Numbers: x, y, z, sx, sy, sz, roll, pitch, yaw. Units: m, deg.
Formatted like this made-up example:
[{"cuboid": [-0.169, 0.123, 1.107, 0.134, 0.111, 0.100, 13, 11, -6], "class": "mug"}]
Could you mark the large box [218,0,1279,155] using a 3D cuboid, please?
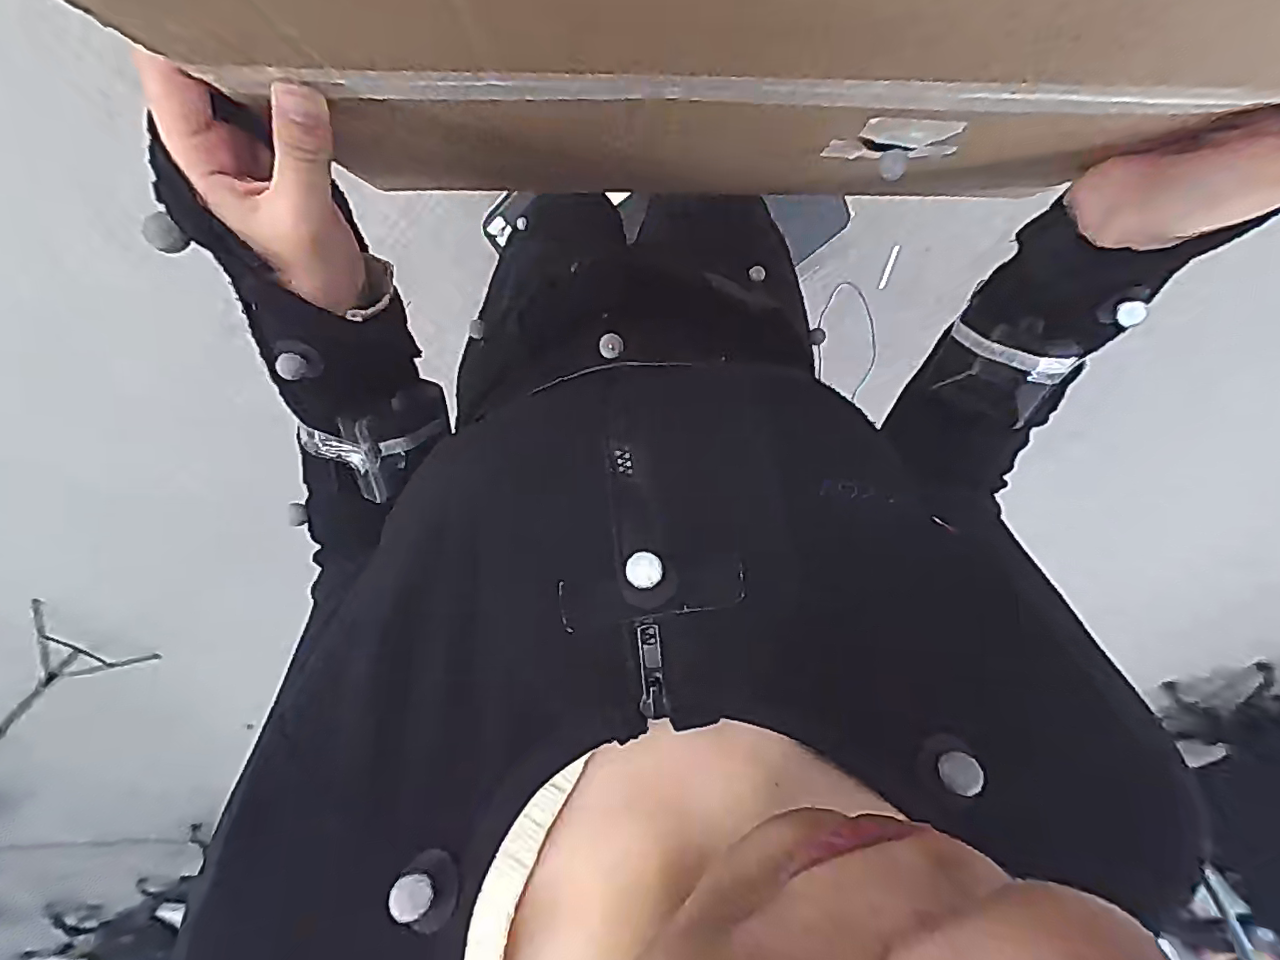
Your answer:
[{"cuboid": [0.062, -0.298, 0.128, 0.408, 0.320, 0.320, -1, 105, -2], "class": "large box"}]
